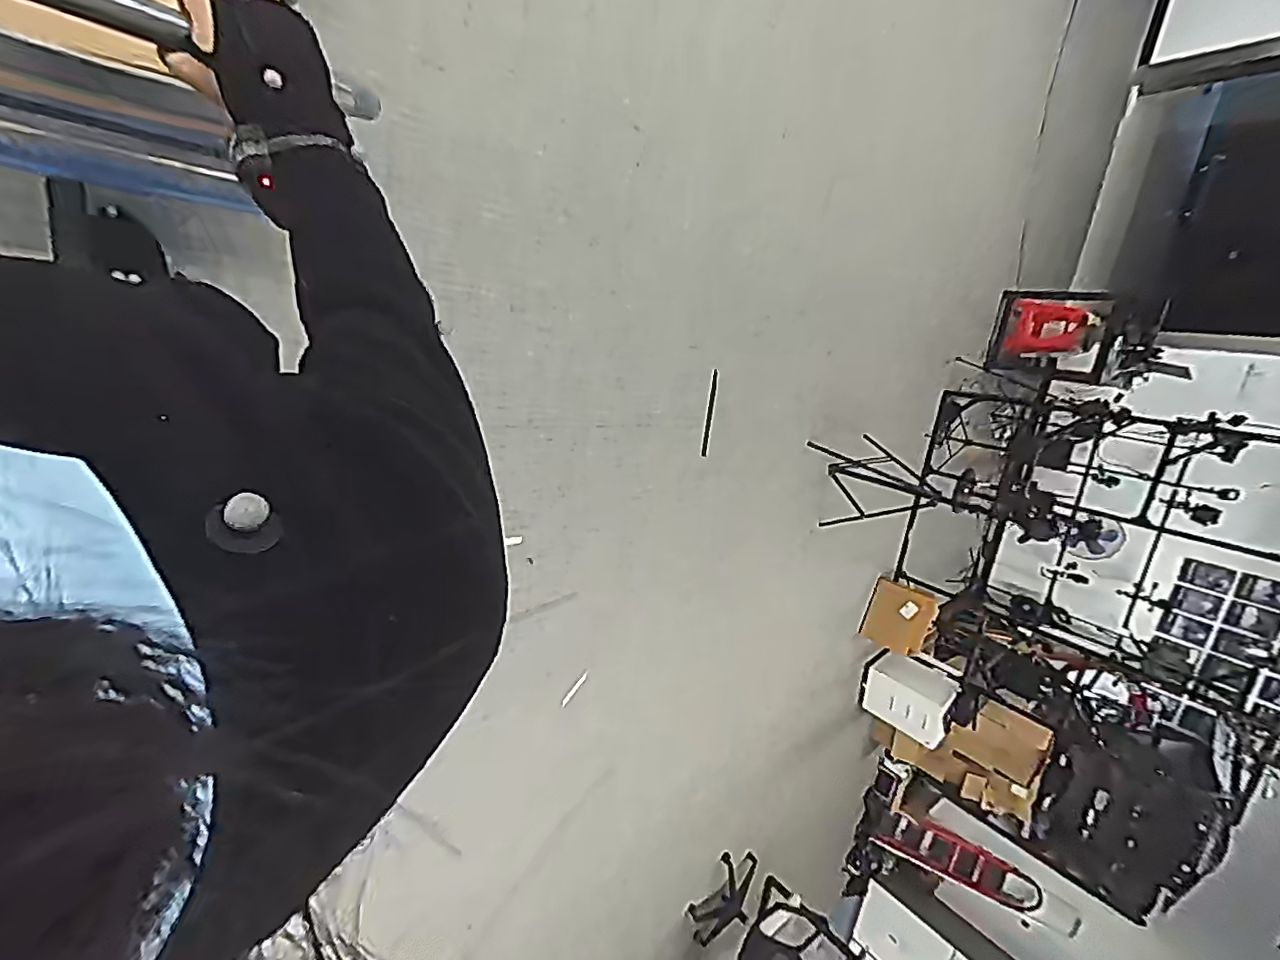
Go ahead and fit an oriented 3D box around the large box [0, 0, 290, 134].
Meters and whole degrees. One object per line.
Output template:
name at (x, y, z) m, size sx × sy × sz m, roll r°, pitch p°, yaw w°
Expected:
large box at (-0.743, -0.705, 0.711) m, size 0.408 × 0.320 × 0.320 m, roll -11°, pitch 114°, yaw -41°
